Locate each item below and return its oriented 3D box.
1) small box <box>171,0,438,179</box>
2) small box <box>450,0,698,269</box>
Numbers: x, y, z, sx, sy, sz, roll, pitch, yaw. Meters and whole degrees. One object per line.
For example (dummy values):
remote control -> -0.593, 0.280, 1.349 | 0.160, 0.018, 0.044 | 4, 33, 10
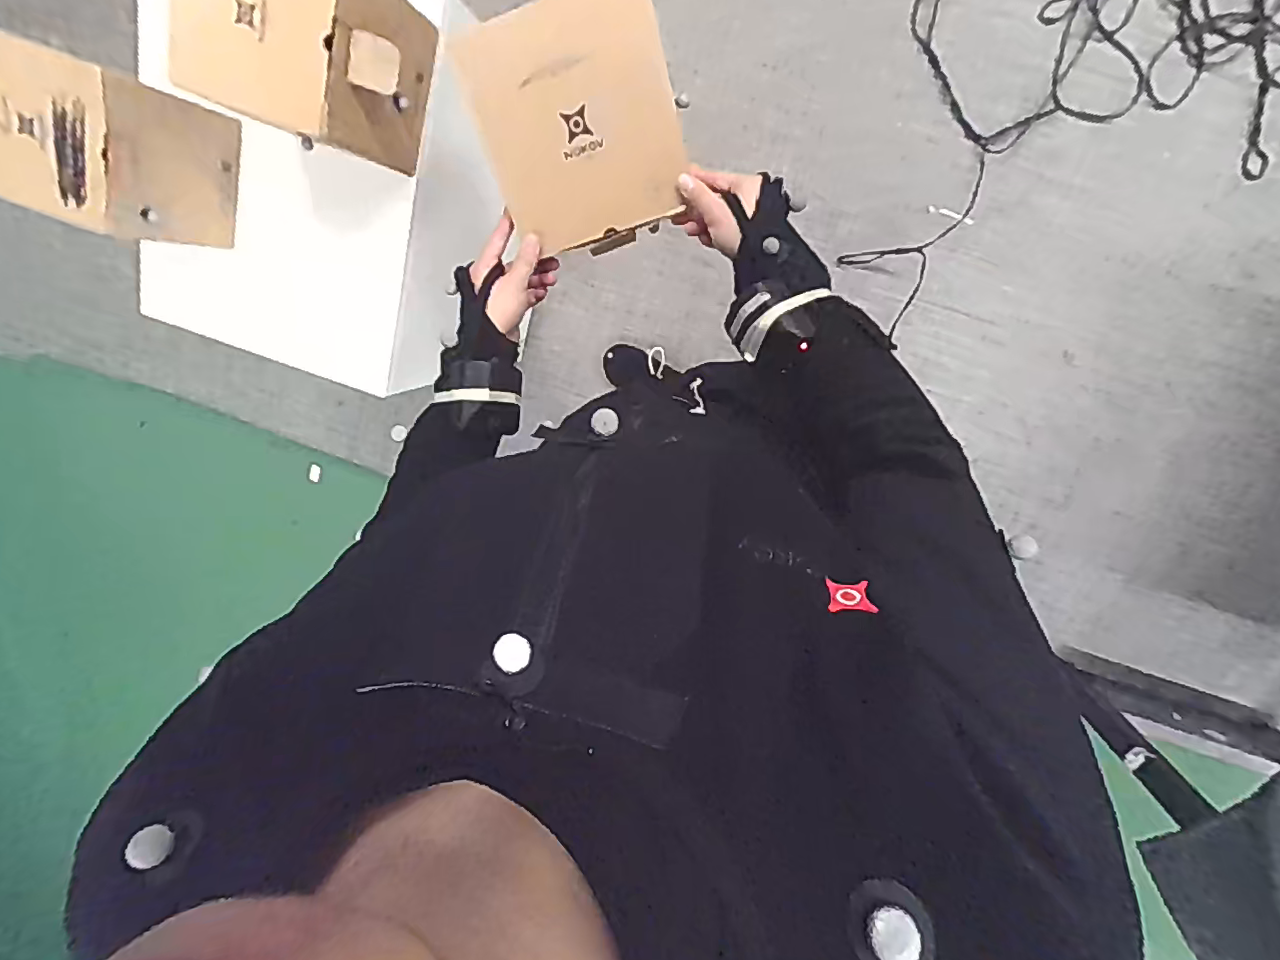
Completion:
small box -> -0.354, -0.455, 0.591 | 0.179, 0.176, 0.168 | 20, 109, 3
small box -> -0.044, -0.327, 0.518 | 0.168, 0.176, 0.179 | -14, 119, 11
